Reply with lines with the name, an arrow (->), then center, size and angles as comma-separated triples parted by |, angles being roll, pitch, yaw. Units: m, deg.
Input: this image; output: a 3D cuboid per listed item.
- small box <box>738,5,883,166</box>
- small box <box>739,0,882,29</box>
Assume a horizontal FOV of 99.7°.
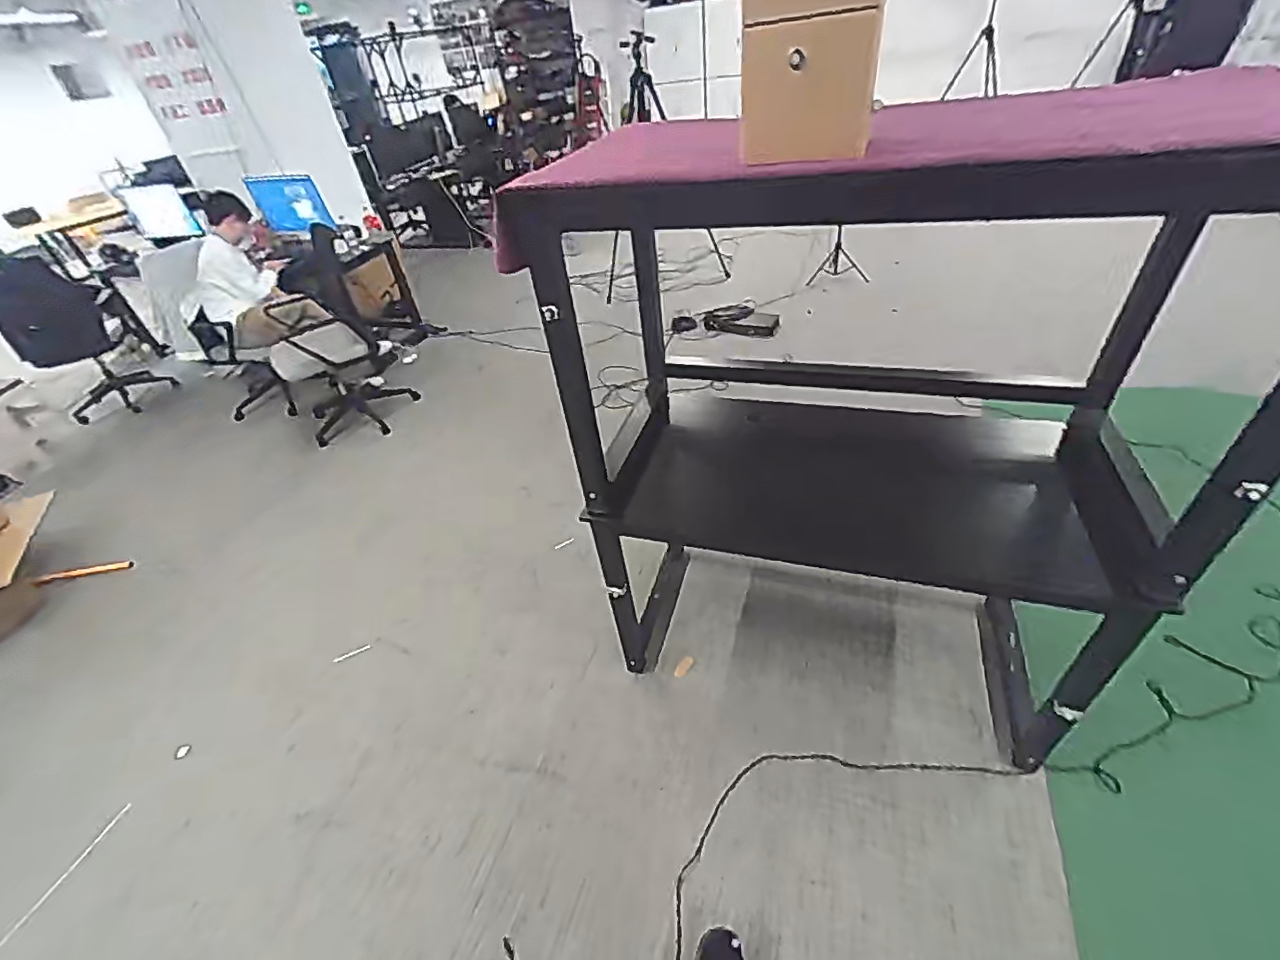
small box -> 0.250, -0.577, 0.799 | 0.179, 0.176, 0.168 | 9, 42, 21
small box -> 0.229, -0.703, 0.696 | 0.179, 0.176, 0.168 | 8, 41, 22
